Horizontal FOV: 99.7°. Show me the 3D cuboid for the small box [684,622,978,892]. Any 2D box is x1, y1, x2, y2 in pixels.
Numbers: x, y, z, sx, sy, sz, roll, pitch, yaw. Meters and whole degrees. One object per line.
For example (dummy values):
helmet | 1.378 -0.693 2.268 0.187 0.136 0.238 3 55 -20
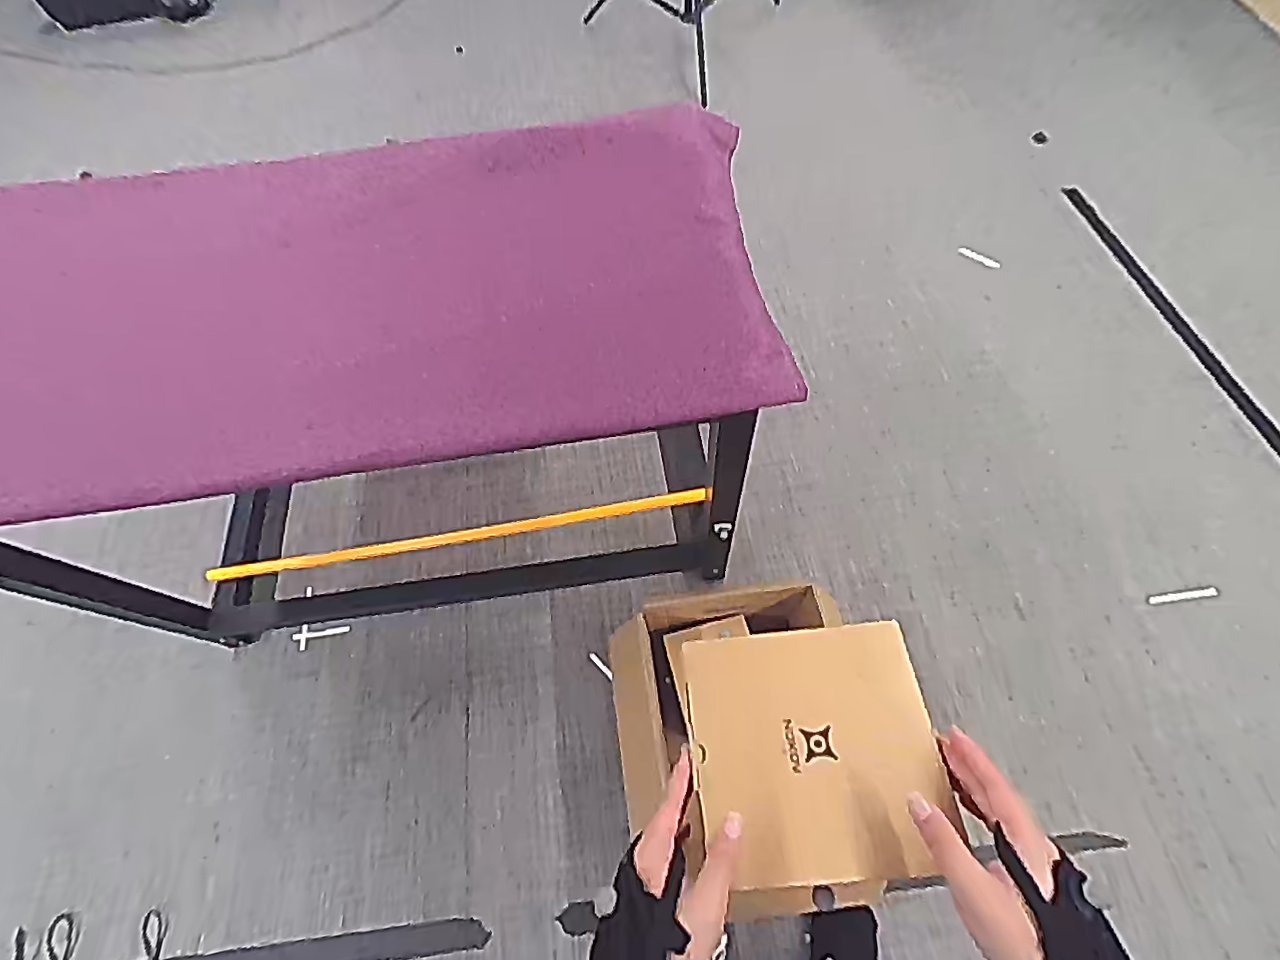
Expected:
small box | 0.135 0.229 0.458 0.179 0.176 0.168 -8 59 4
